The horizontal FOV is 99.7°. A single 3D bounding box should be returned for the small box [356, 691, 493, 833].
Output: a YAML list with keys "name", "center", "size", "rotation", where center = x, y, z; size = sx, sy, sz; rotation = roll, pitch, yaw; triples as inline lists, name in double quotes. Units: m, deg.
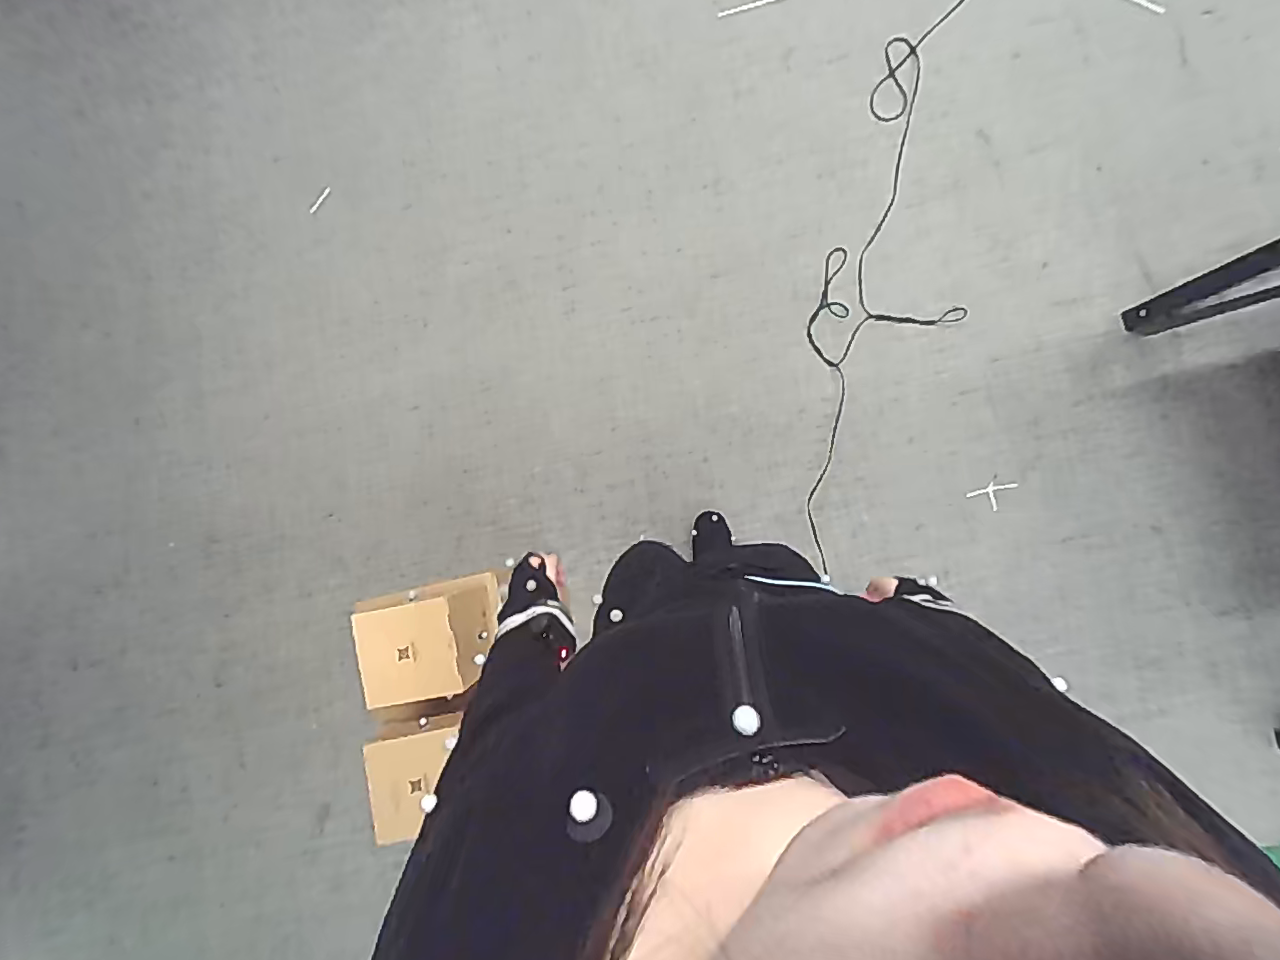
- name: "small box"
  center: [-0.380, 0.502, 0.988]
  size: [0.179, 0.176, 0.168]
  rotation: [-12, 84, 3]

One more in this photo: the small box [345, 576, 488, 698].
- name: "small box"
  center: [-0.404, 0.281, 0.999]
  size: [0.179, 0.176, 0.168]
  rotation: [-11, 88, 4]
